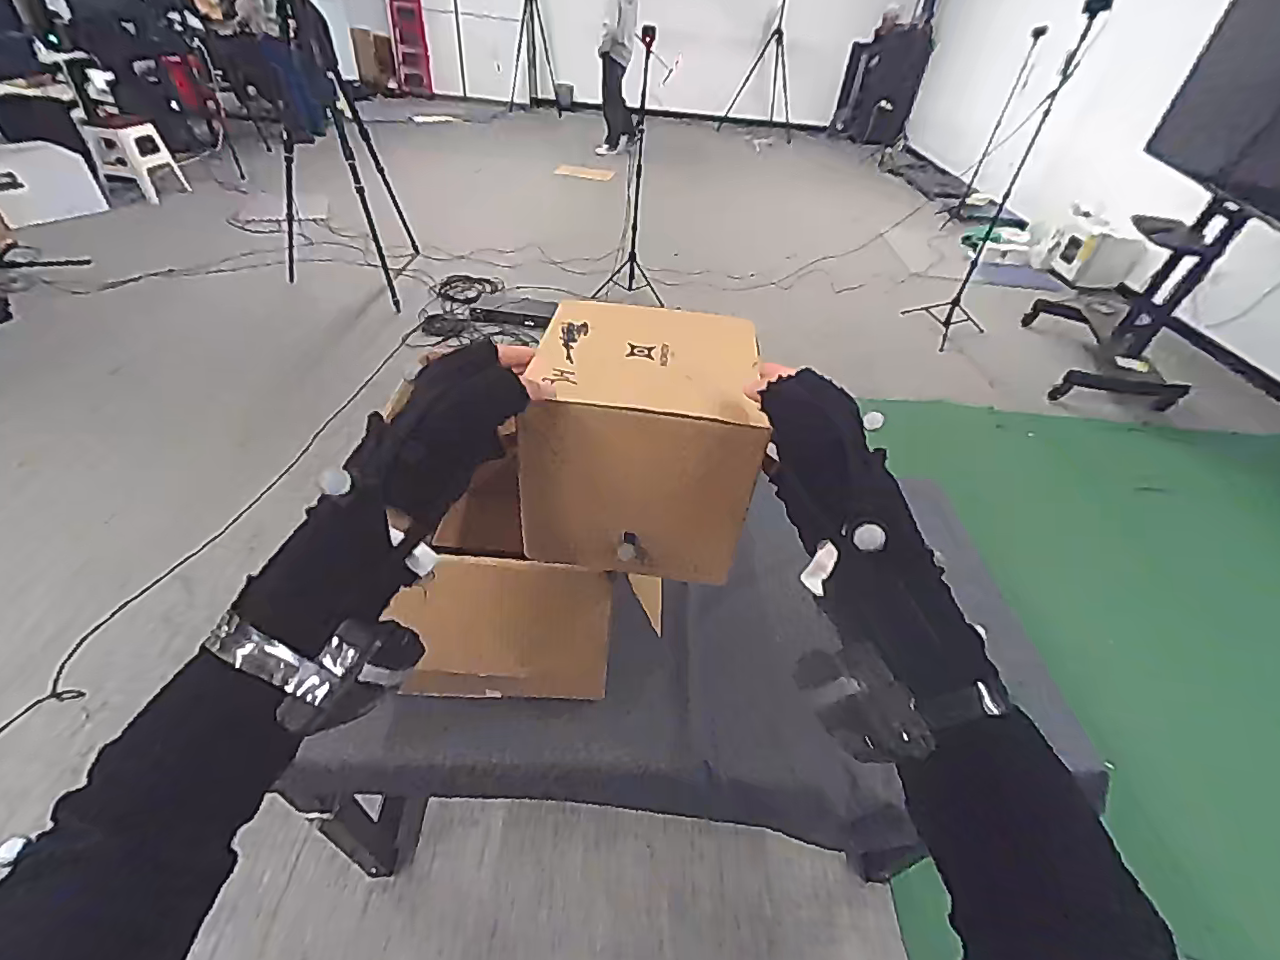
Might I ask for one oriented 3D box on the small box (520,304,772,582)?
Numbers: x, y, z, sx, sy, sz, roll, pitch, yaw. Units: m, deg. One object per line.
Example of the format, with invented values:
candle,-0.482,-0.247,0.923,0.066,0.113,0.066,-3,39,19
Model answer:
small box,0.004,-0.030,0.476,0.179,0.176,0.168,8,41,0
